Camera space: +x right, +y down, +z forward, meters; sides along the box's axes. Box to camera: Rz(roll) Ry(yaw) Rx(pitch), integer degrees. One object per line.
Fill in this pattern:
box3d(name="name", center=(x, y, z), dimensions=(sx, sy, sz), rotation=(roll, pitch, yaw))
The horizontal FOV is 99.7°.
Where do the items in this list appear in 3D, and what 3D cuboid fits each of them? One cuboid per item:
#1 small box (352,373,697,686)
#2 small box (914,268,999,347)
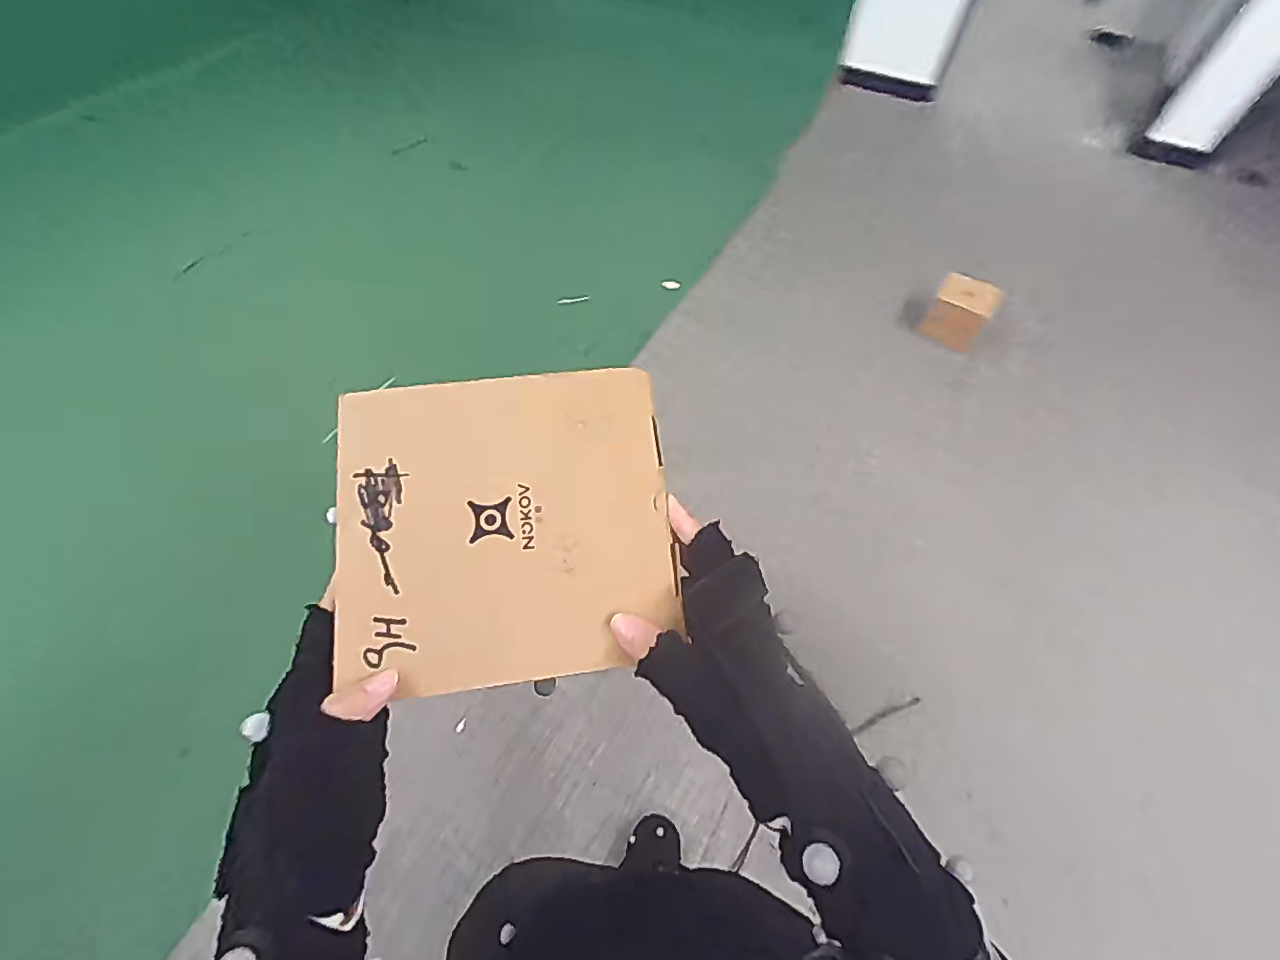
box3d(name="small box", center=(-0.070, 0.041, 0.371), dimensions=(0.179, 0.176, 0.168), rotation=(-4, 73, -6))
box3d(name="small box", center=(1.082, -0.586, 1.857), dimensions=(0.179, 0.176, 0.168), rotation=(28, 63, 17))
